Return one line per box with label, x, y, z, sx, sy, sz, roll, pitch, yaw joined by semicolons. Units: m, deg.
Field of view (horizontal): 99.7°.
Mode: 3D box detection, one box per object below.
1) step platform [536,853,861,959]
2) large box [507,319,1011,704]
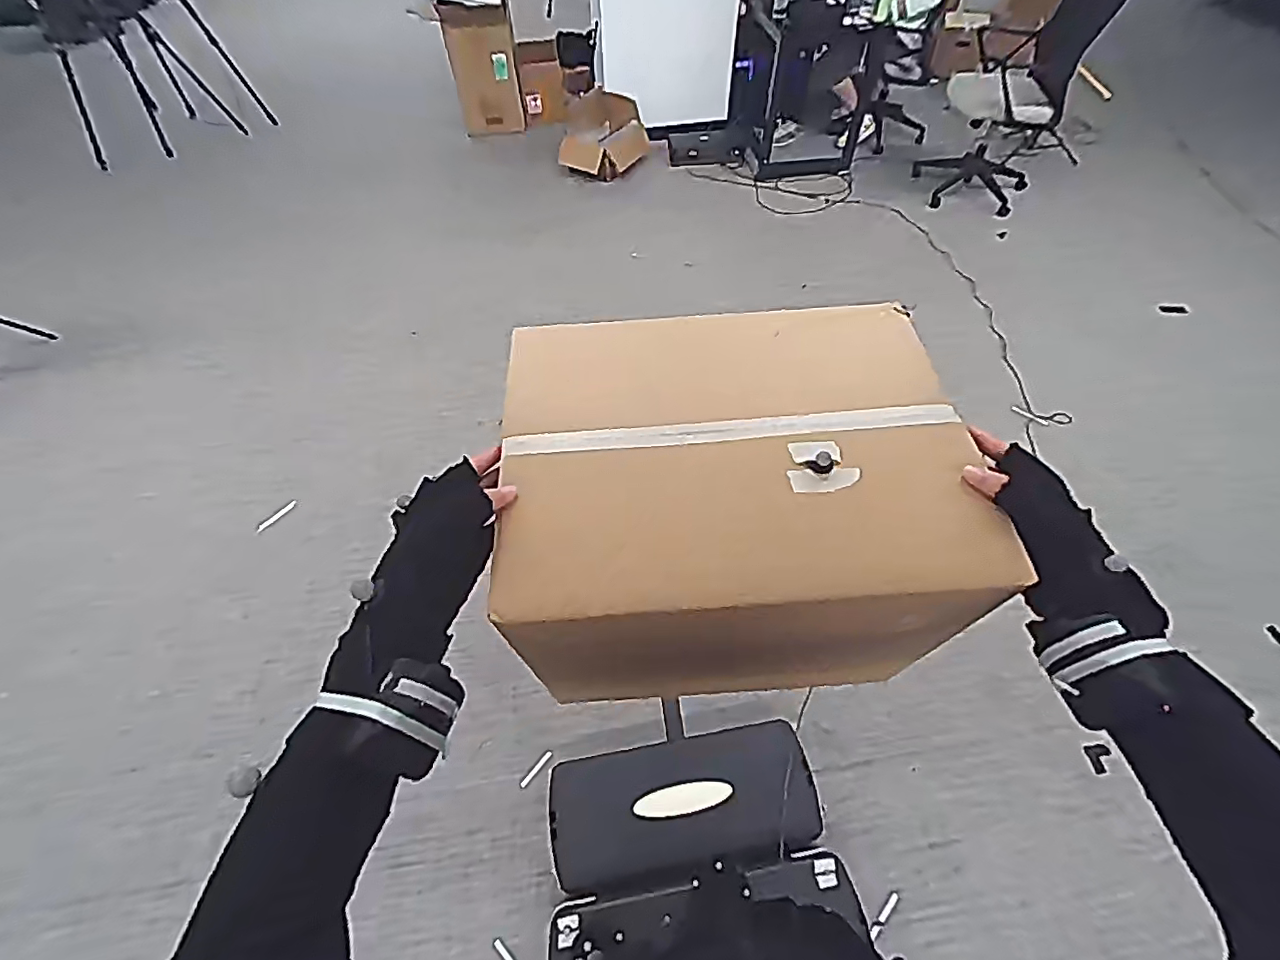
step platform;0.122;1.039;1.166;0.684;0.204;0.286;-10;54;-4
large box;0.084;0.049;0.620;0.408;0.320;0.320;-4;57;-1
